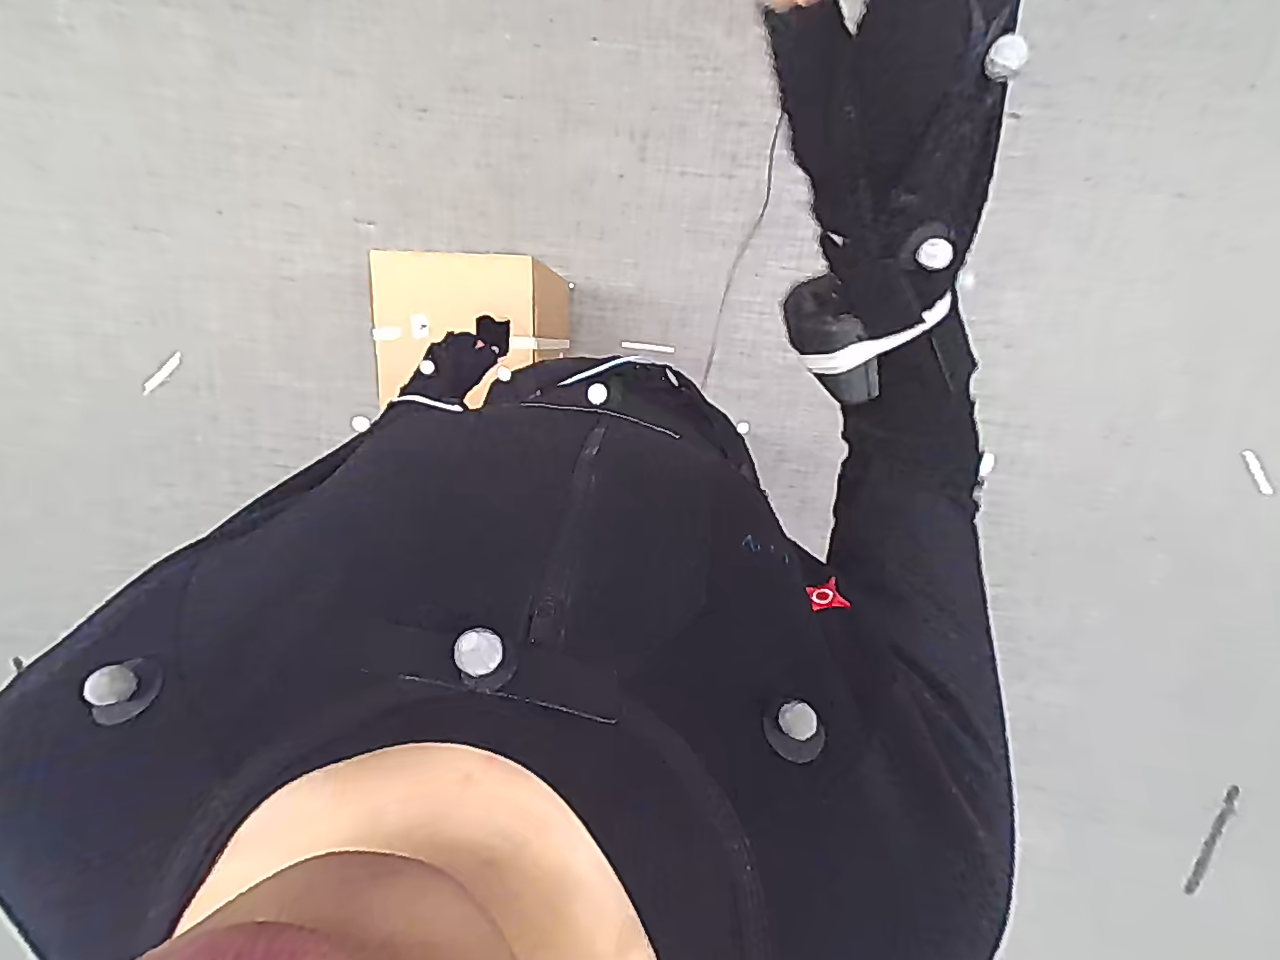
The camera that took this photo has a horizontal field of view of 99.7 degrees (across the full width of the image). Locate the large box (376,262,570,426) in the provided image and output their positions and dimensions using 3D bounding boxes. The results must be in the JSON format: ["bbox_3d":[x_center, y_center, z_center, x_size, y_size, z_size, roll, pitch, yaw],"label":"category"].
[{"bbox_3d":[-0.350,-0.312,1.239,0.320,0.408,0.320,3,104,1],"label":"large box"}]
